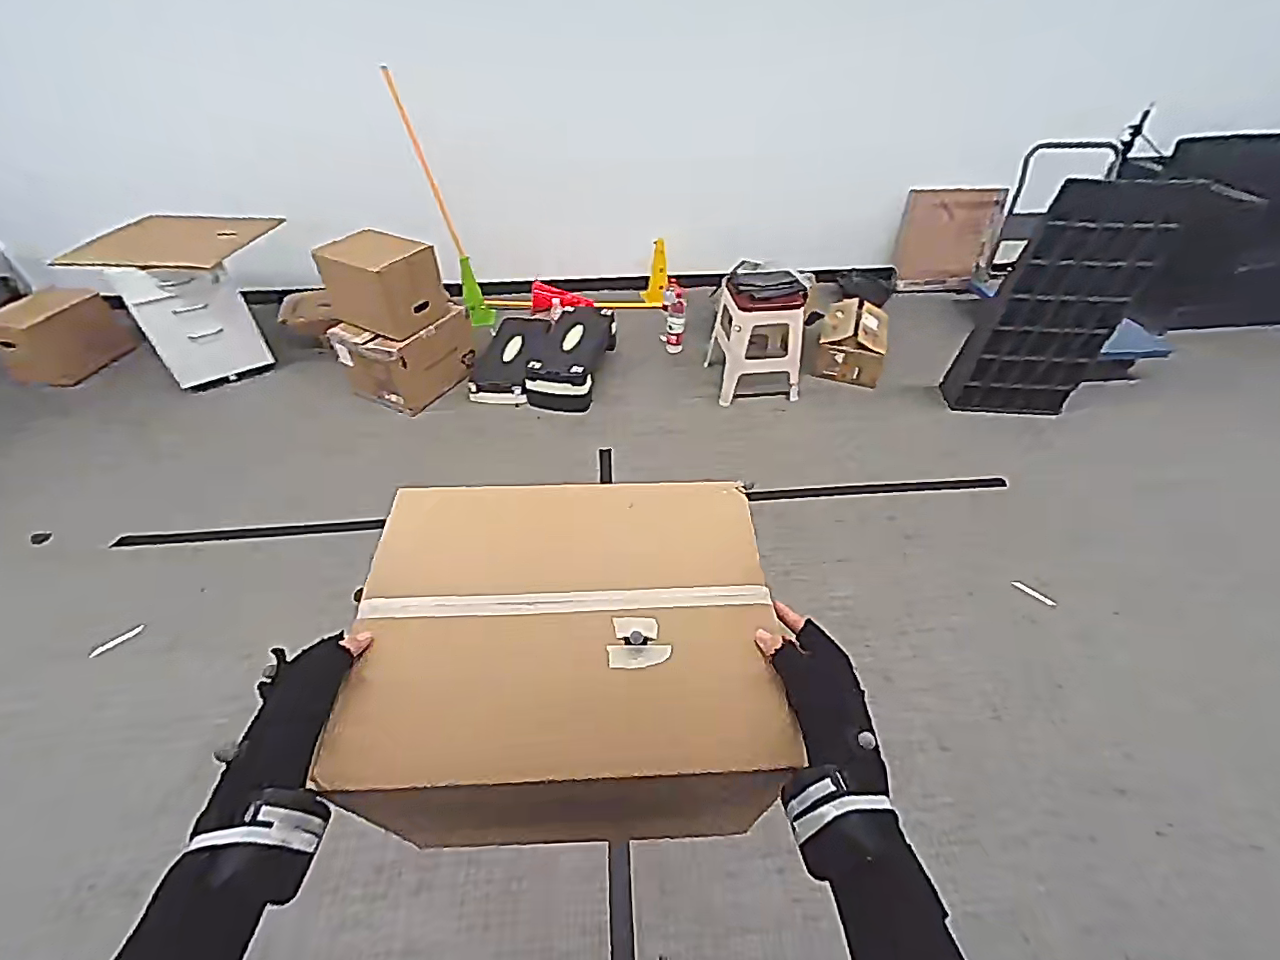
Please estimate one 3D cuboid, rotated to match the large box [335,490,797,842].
[{"bbox_3d":[-0.072,0.230,0.668,0.408,0.320,0.320,-1,49,-3],"label":"large box"}]
